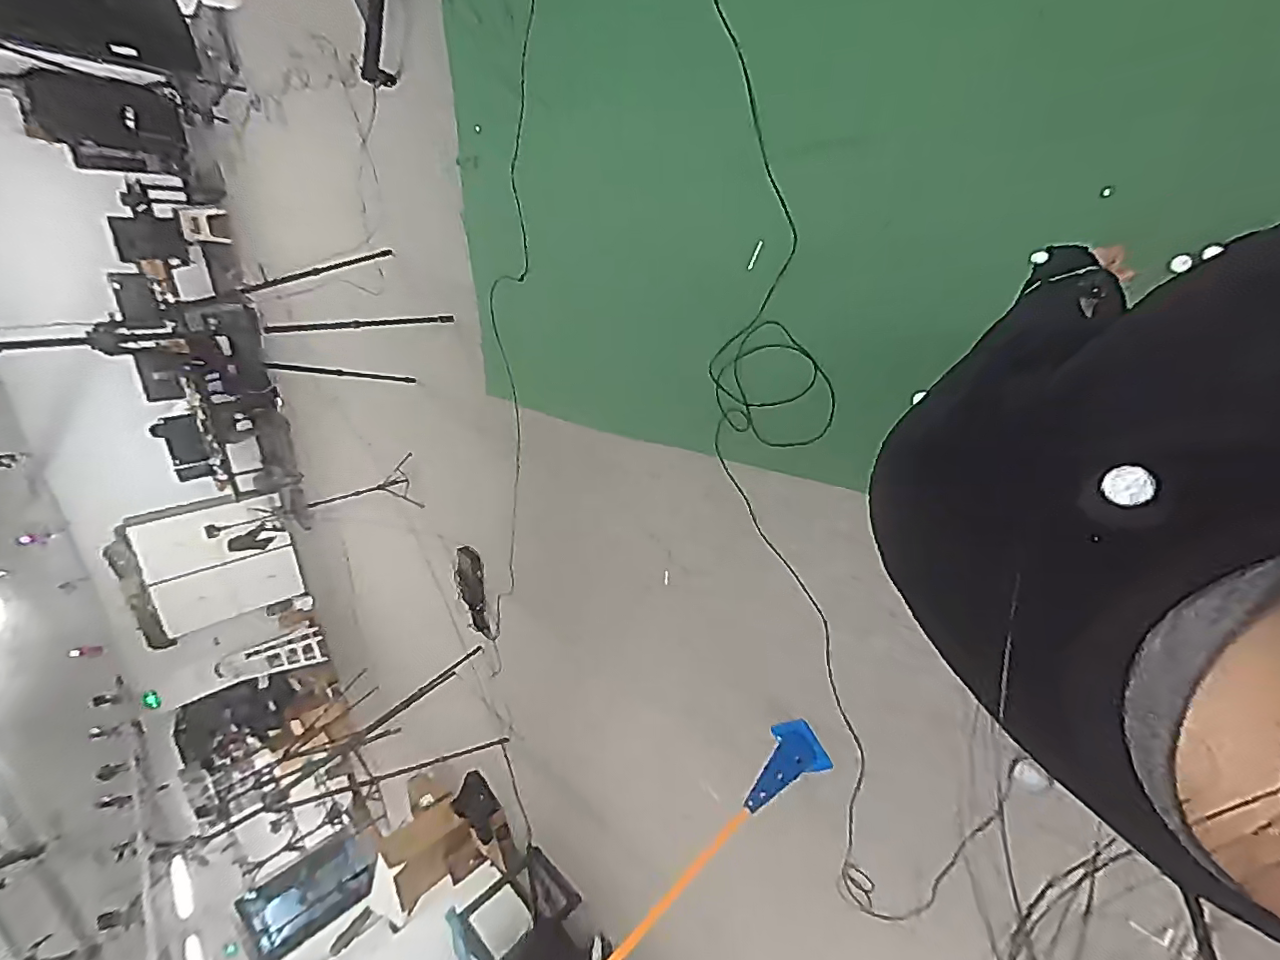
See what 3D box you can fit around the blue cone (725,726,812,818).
[{"bbox_3d":[0.437,1.088,1.957,0.192,0.380,0.193,57,138,12],"label":"blue cone"}]
